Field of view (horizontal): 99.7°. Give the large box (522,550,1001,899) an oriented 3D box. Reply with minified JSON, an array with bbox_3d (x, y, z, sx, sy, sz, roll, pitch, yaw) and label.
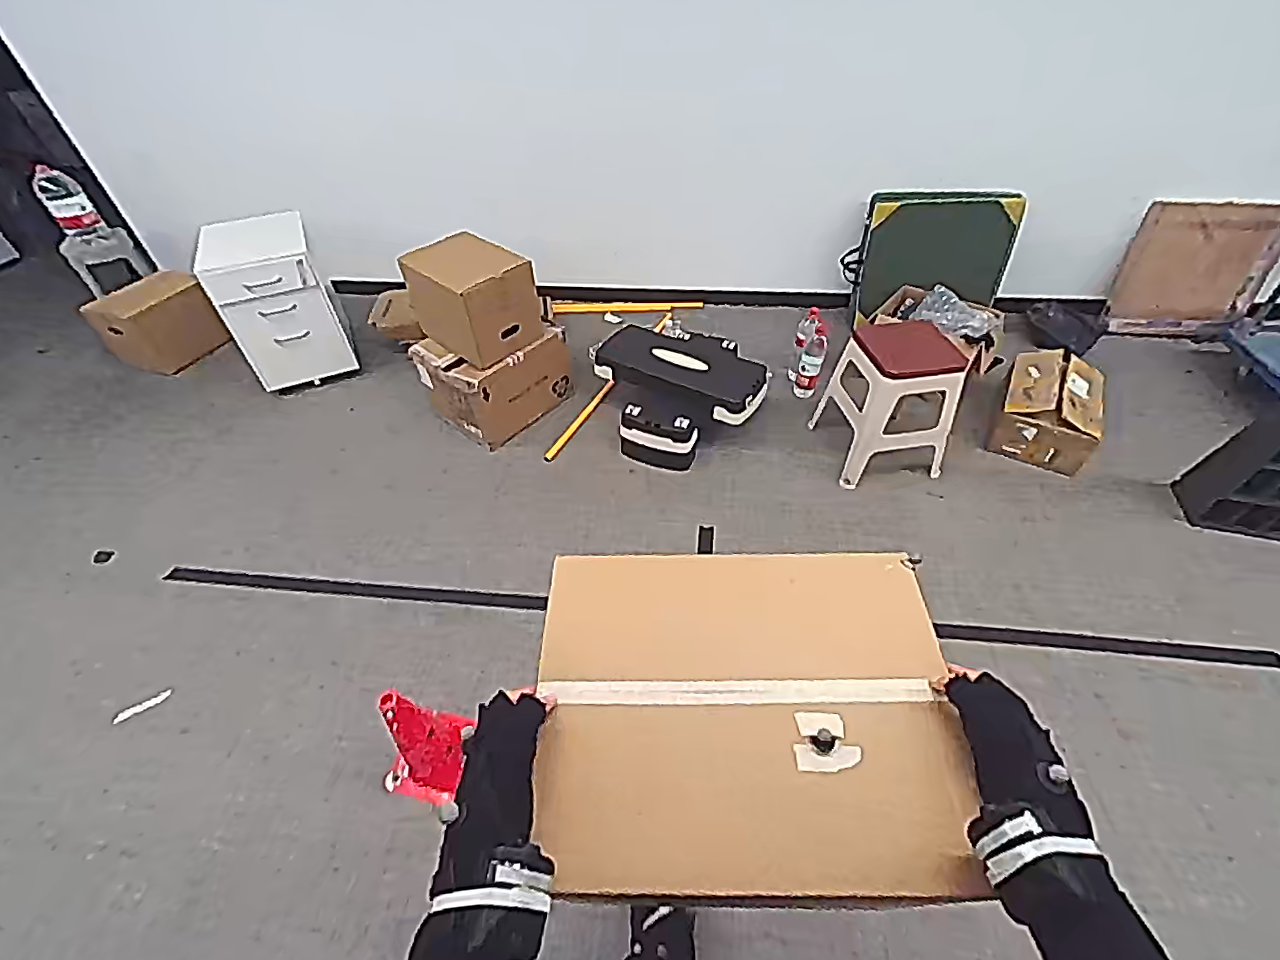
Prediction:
[{"bbox_3d":[0.101,0.299,0.651,0.408,0.320,0.320,-1,51,2],"label":"large box"}]

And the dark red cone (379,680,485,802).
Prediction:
[{"bbox_3d":[-0.510,0.562,1.231,0.201,0.394,0.202,9,47,9],"label":"dark red cone"}]
